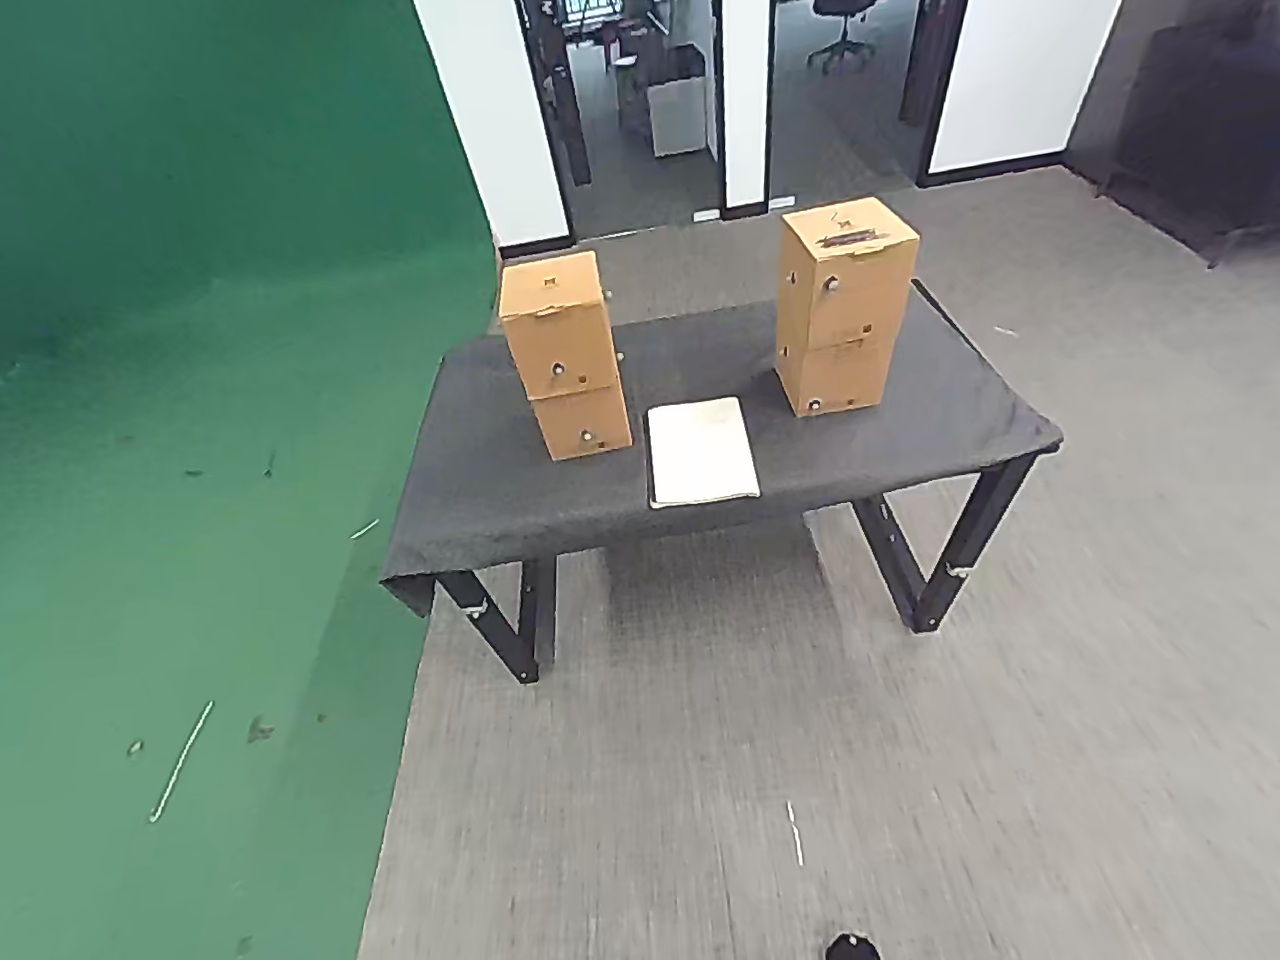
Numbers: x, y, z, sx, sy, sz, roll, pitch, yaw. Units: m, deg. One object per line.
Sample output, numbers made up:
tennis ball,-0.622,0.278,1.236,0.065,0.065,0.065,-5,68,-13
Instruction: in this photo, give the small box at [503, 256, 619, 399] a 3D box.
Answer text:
small box,-0.136,-0.270,0.960,0.168,0.176,0.179,-11,47,0

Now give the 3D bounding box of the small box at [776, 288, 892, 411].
small box,0.373,-0.251,1.072,0.168,0.176,0.179,-9,46,2

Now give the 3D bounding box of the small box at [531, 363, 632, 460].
small box,-0.116,-0.168,1.085,0.168,0.176,0.179,-12,47,0
